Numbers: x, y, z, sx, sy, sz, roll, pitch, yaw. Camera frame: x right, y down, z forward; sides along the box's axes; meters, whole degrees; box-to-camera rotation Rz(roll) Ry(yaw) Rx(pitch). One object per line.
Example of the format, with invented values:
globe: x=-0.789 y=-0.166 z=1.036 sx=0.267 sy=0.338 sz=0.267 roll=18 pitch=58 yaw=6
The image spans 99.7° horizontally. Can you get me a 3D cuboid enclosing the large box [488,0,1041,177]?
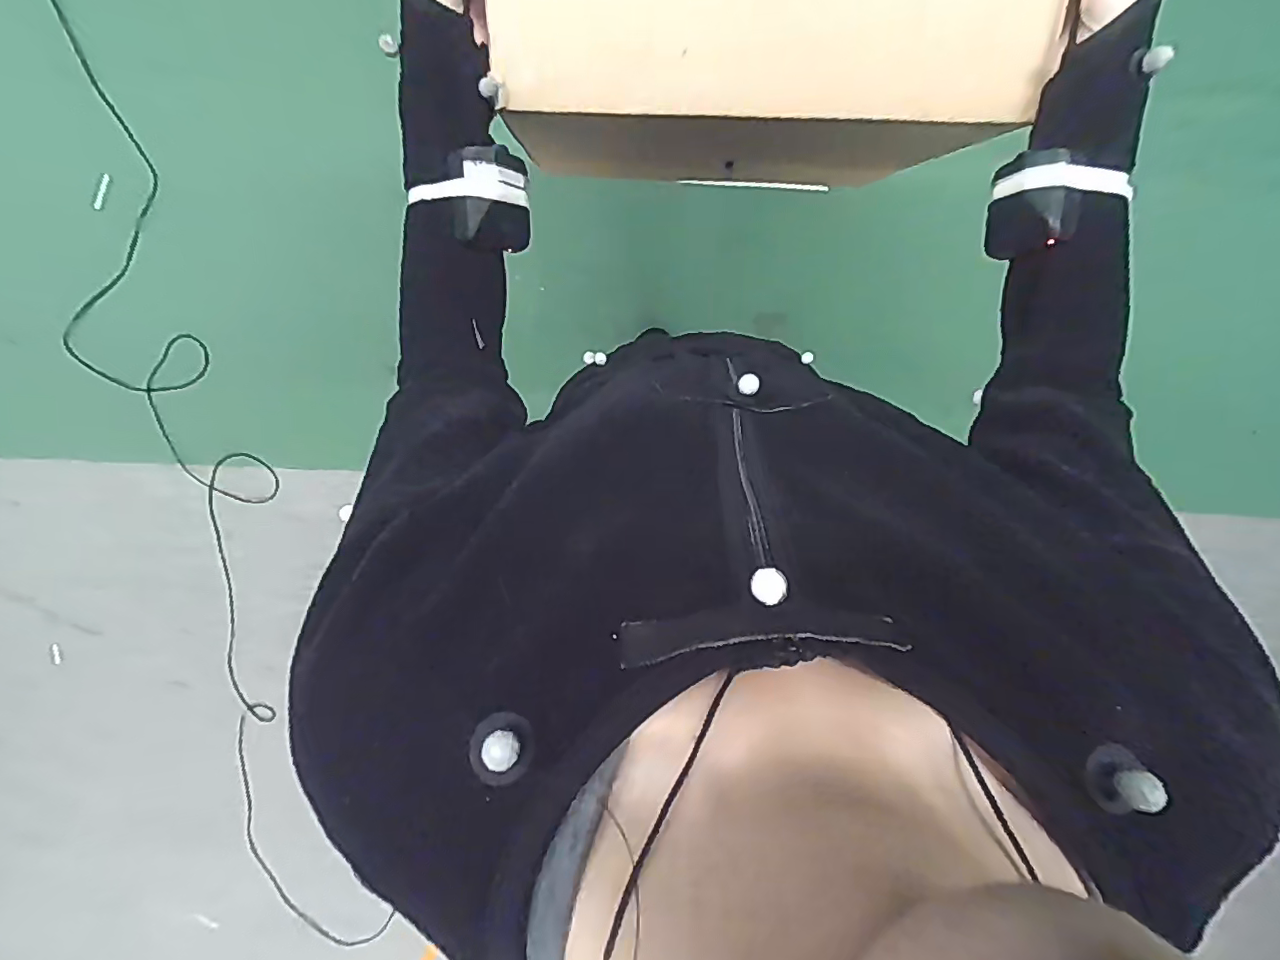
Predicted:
large box: x=0.088 y=-0.471 z=0.493 sx=0.408 sy=0.320 sz=0.320 roll=0 pitch=110 yaw=-1
